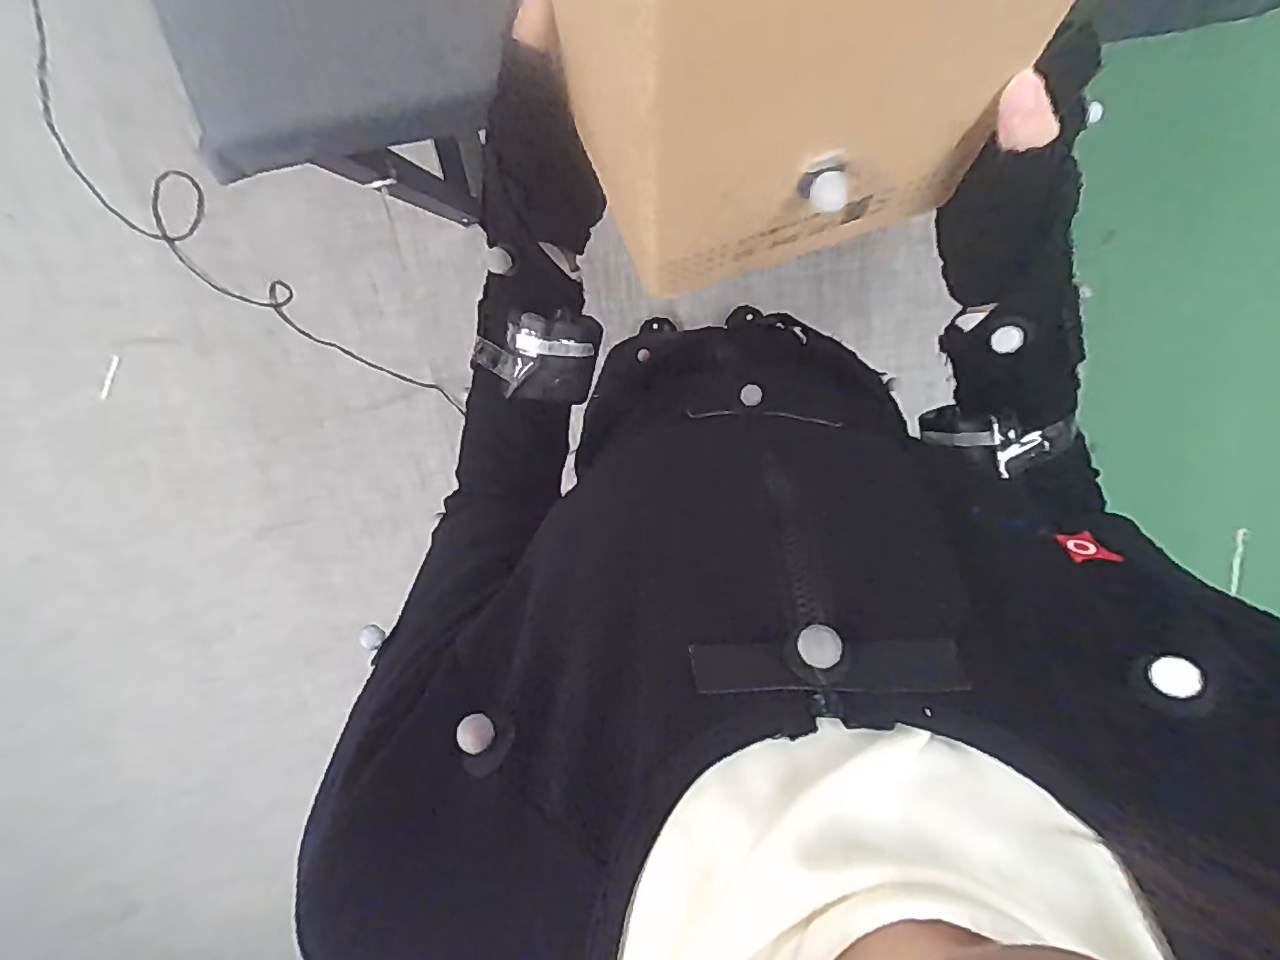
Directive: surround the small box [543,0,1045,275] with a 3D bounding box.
[{"bbox_3d":[0.051,-0.227,0.229,0.168,0.176,0.179,-22,73,-5],"label":"small box"}]
